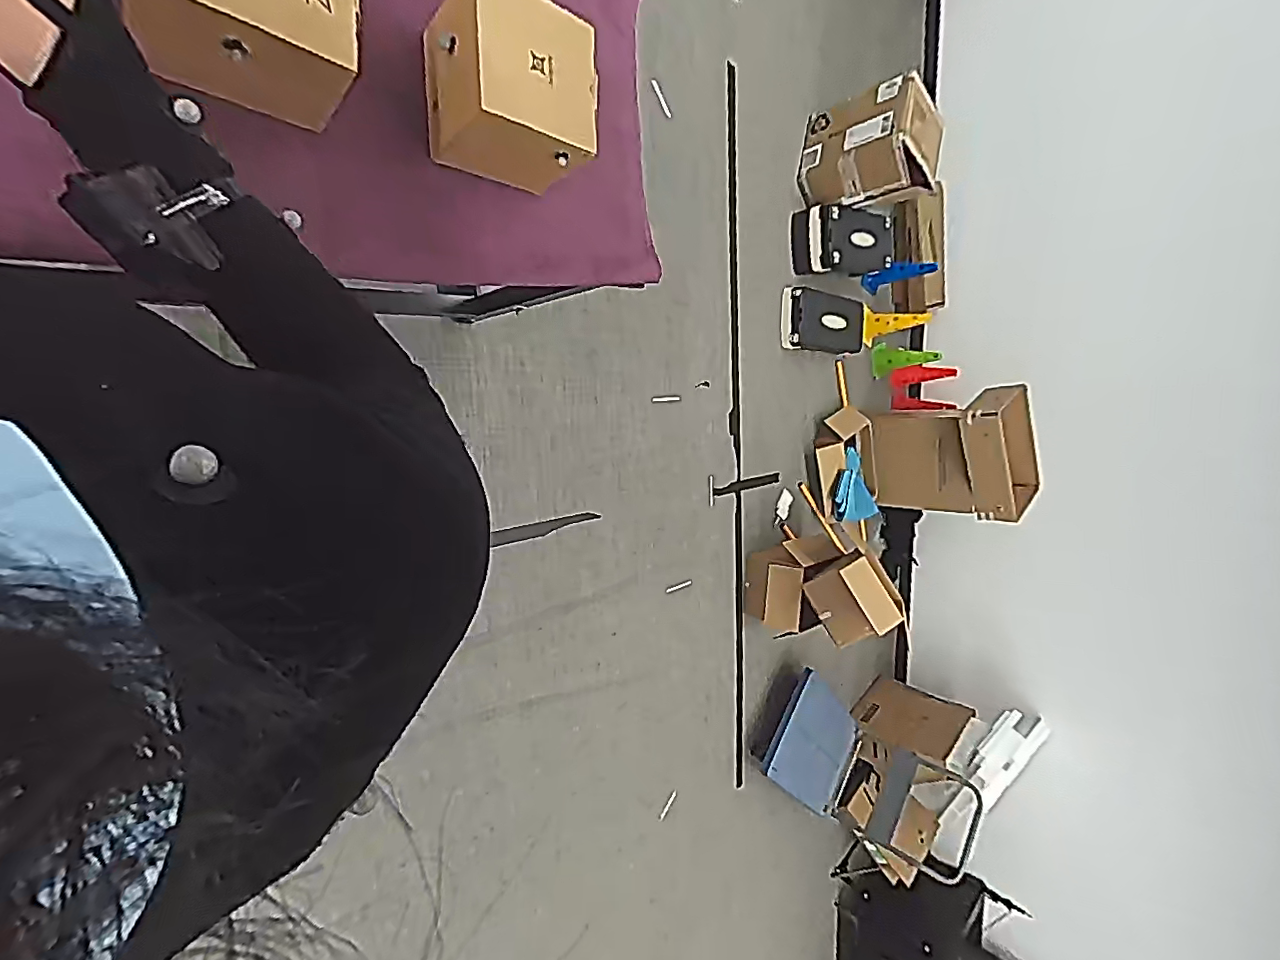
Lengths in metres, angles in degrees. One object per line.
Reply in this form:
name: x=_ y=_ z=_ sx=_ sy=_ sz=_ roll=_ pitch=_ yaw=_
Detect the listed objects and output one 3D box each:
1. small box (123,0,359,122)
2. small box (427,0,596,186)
small box: x=-0.399 y=-0.500 z=0.541 sx=0.179 sy=0.176 sz=0.168 roll=-2 pitch=97 yaw=-43
small box: x=-0.180 y=-0.531 z=0.743 sx=0.179 sy=0.176 sz=0.168 roll=-7 pitch=99 yaw=-43
